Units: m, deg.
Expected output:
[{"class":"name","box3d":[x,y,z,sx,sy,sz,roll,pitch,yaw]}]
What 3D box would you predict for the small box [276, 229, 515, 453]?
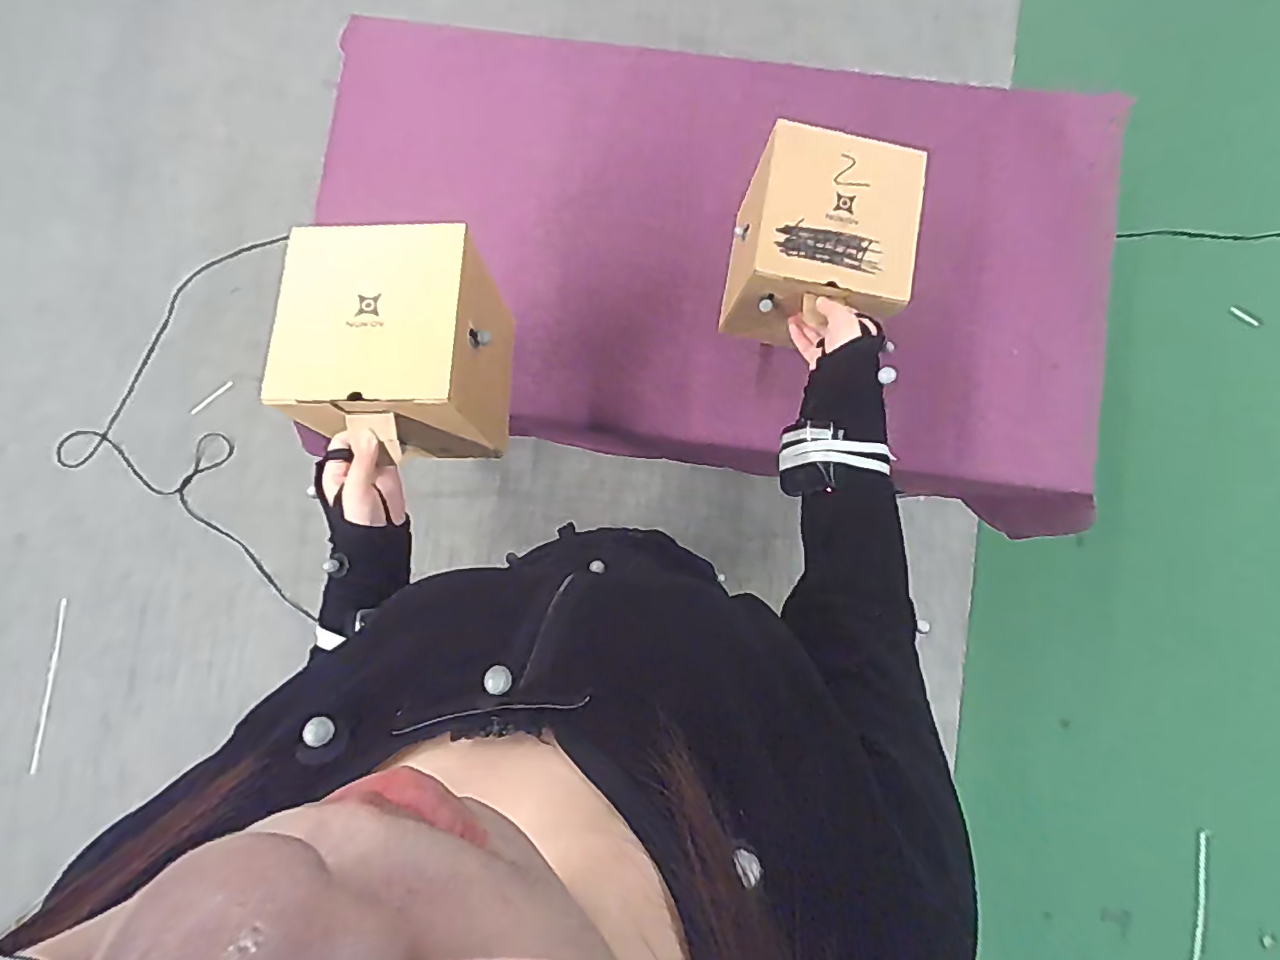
[{"class":"small box","box3d":[-0.236,-0.135,0.571,0.168,0.176,0.179,0,77,3]}]
